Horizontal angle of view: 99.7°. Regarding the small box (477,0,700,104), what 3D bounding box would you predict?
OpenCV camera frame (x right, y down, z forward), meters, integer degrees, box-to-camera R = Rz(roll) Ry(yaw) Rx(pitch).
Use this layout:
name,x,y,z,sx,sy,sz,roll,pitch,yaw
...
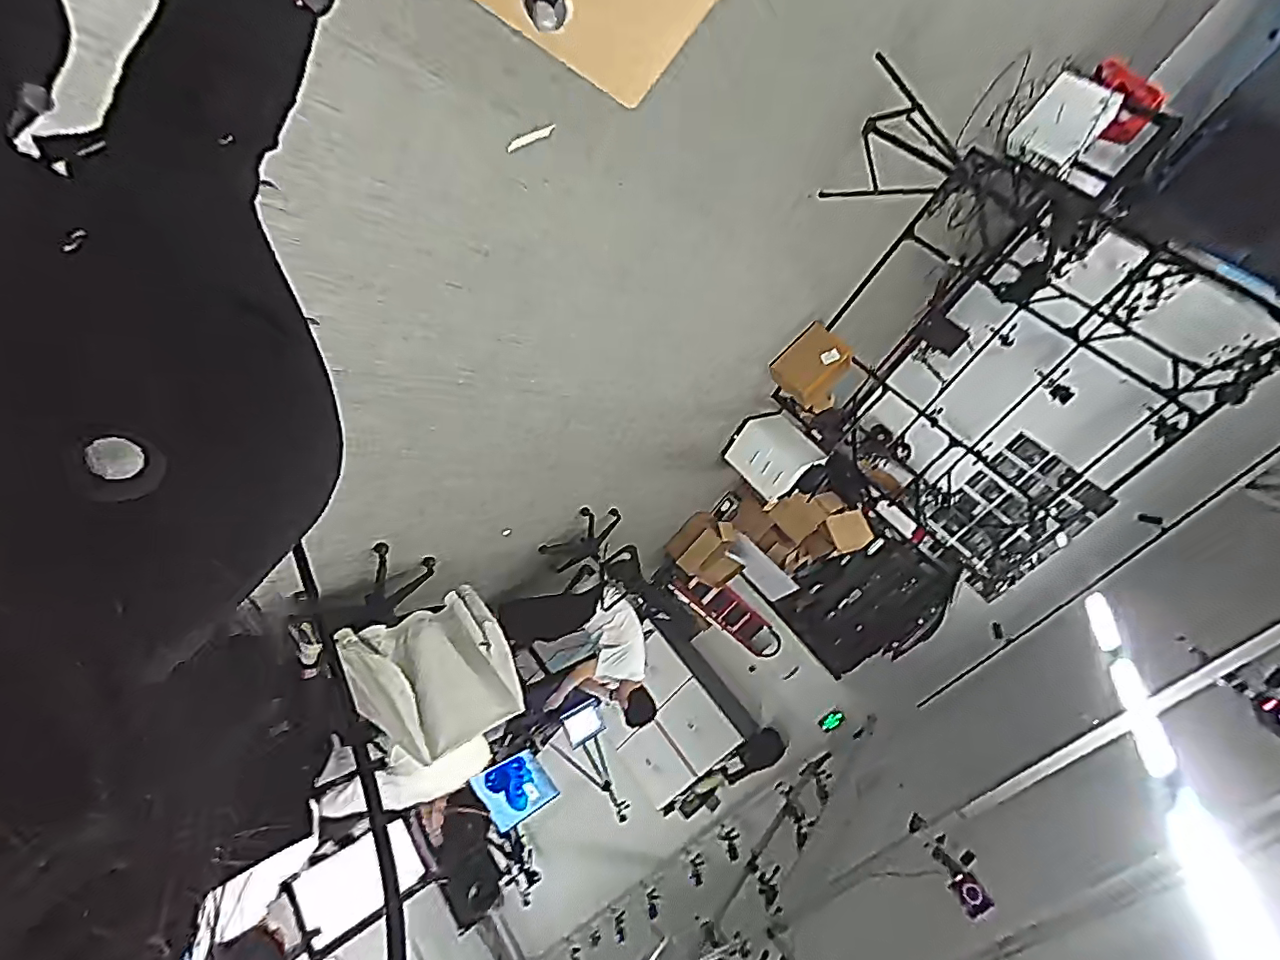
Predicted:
name,x,y,z,sx,sy,sz,roll,pitch,yaw
small box,-0.014,-0.325,0.223,0.168,0.179,0.176,17,164,-31
